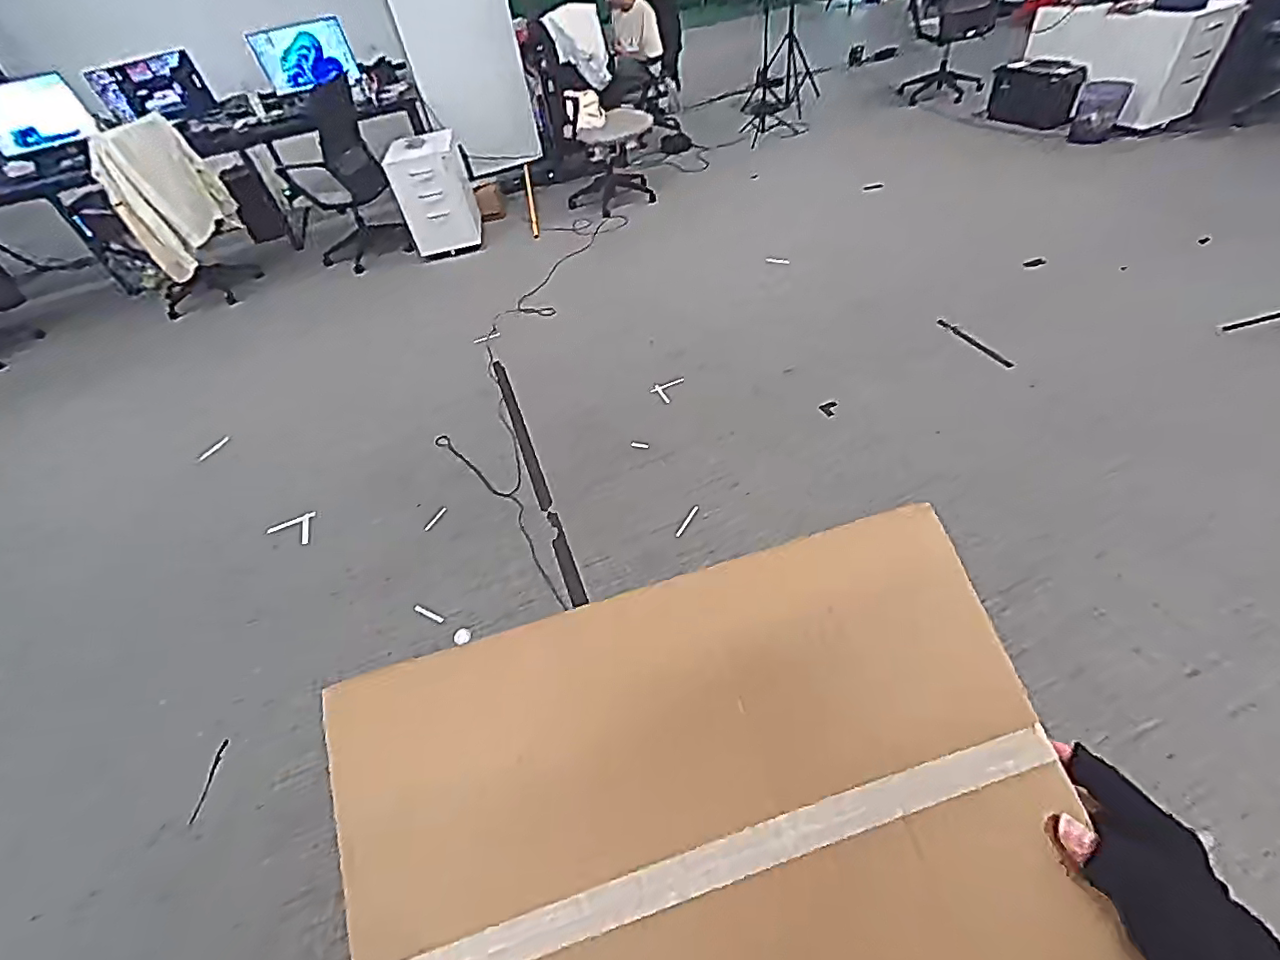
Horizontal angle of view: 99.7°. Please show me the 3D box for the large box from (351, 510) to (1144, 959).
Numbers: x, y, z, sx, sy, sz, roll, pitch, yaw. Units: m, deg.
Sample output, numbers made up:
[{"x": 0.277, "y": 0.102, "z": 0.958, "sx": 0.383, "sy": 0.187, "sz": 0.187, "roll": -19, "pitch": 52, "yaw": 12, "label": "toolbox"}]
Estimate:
[{"x": 0.050, "y": 0.263, "z": 0.453, "sx": 0.408, "sy": 0.320, "sz": 0.320, "roll": -17, "pitch": 73, "yaw": -5, "label": "large box"}]
